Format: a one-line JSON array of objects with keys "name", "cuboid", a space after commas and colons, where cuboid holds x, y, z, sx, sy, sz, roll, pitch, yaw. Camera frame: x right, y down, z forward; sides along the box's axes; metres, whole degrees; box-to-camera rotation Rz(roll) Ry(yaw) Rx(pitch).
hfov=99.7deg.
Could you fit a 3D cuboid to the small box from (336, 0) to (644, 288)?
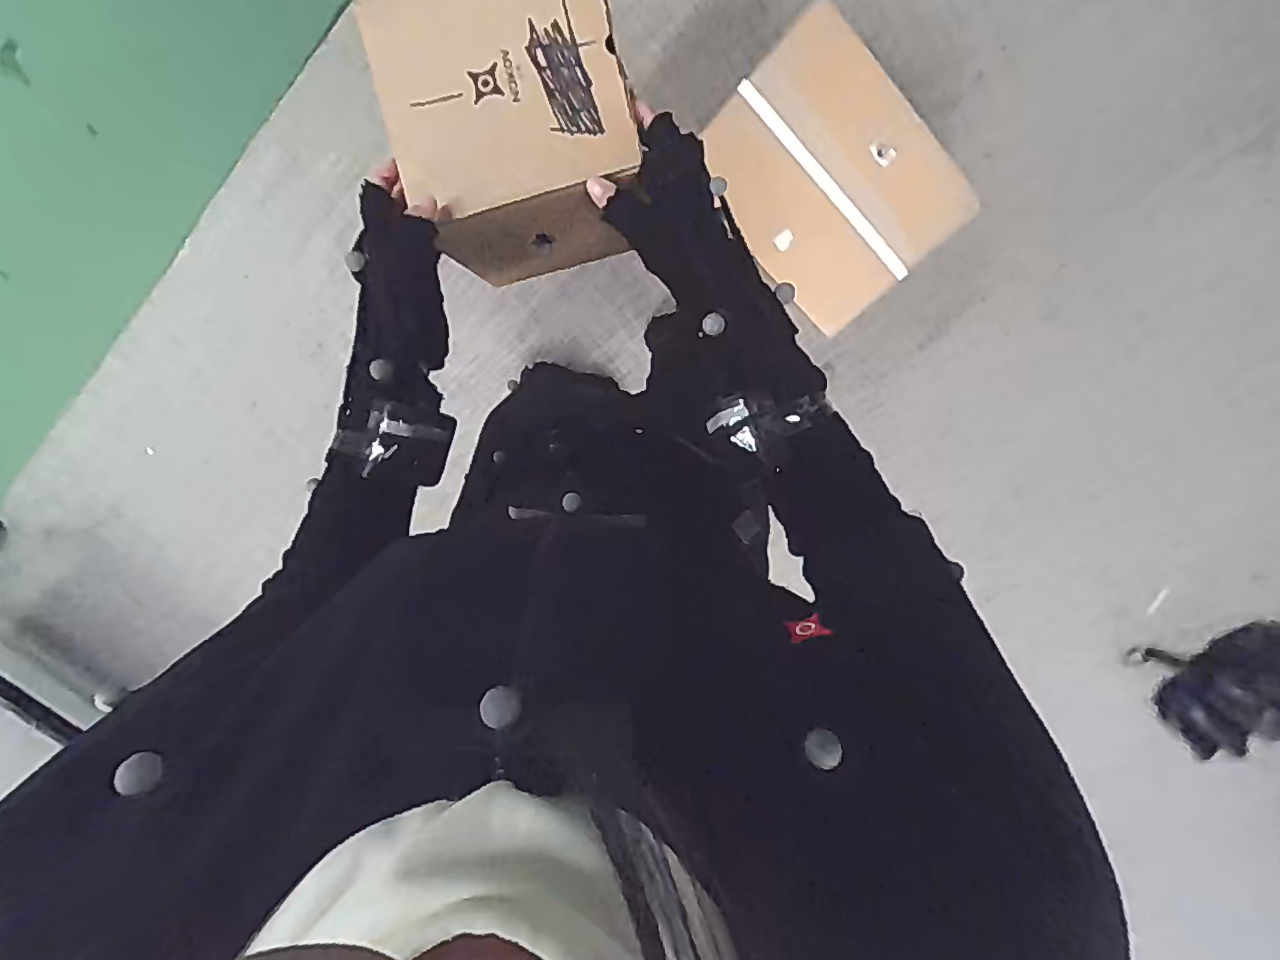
[{"name": "small box", "cuboid": [-0.100, -0.281, 0.451, 0.179, 0.176, 0.168, -17, 95, 7]}]
